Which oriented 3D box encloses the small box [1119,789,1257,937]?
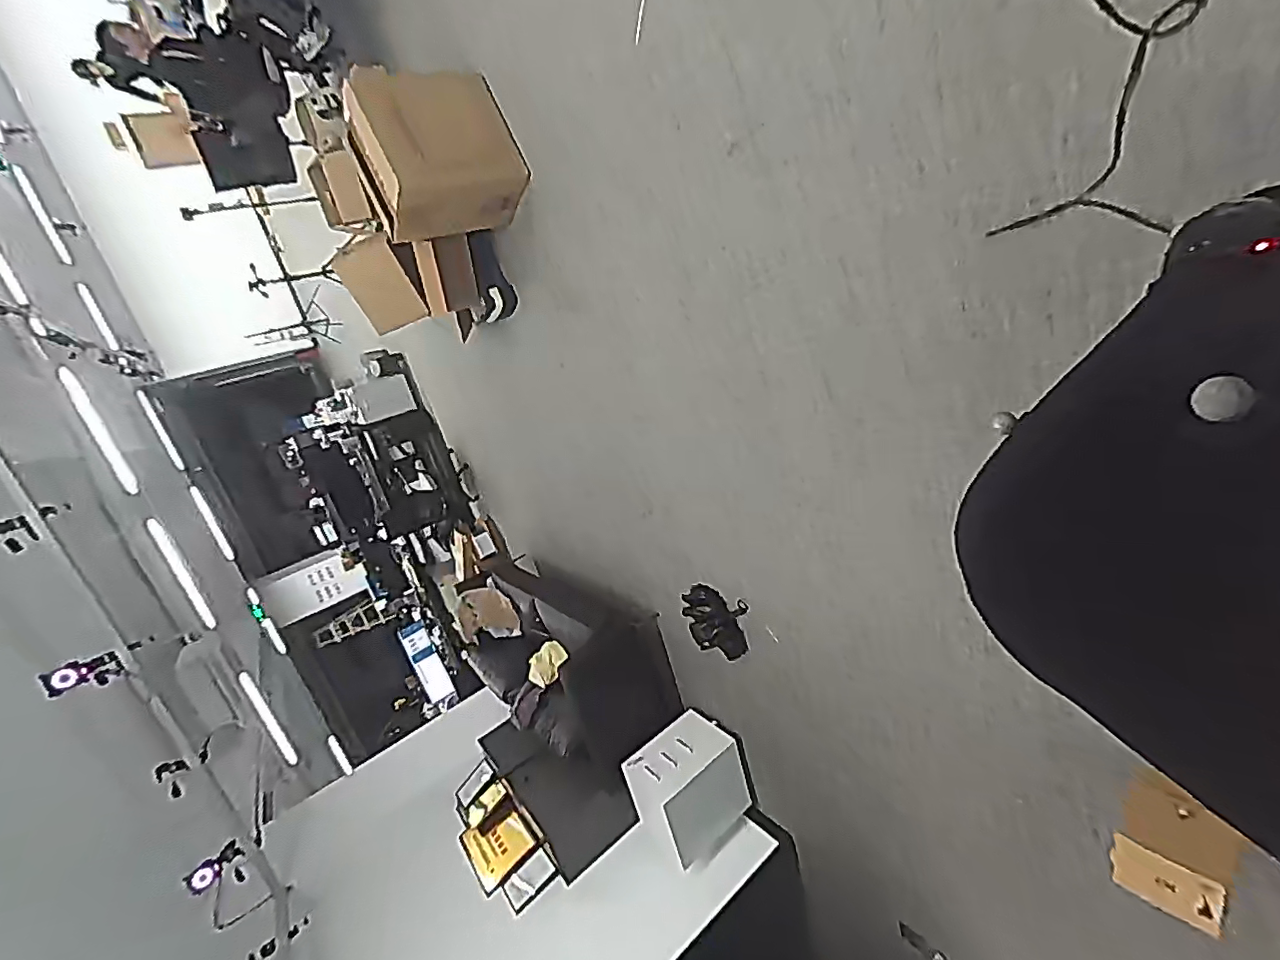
[{"bbox_3d":[1.208,0.830,1.197,0.179,0.176,0.168,14,125,54],"label":"small box"}]
